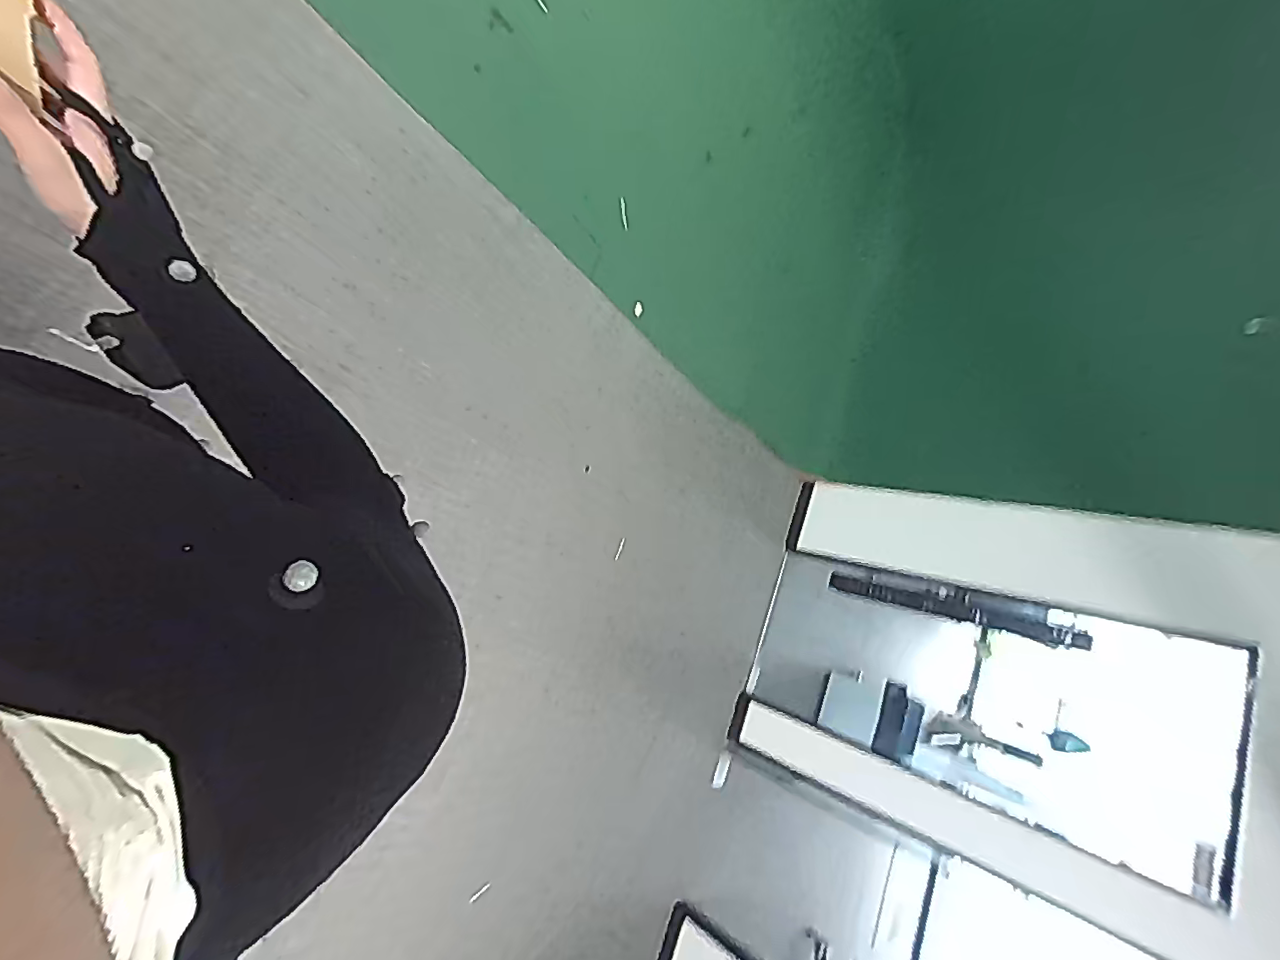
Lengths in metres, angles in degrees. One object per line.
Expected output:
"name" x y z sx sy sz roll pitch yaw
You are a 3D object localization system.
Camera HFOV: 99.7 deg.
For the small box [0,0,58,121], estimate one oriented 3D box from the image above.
"small box" -0.485 -0.336 0.323 0.179 0.176 0.168 -6 117 -49
